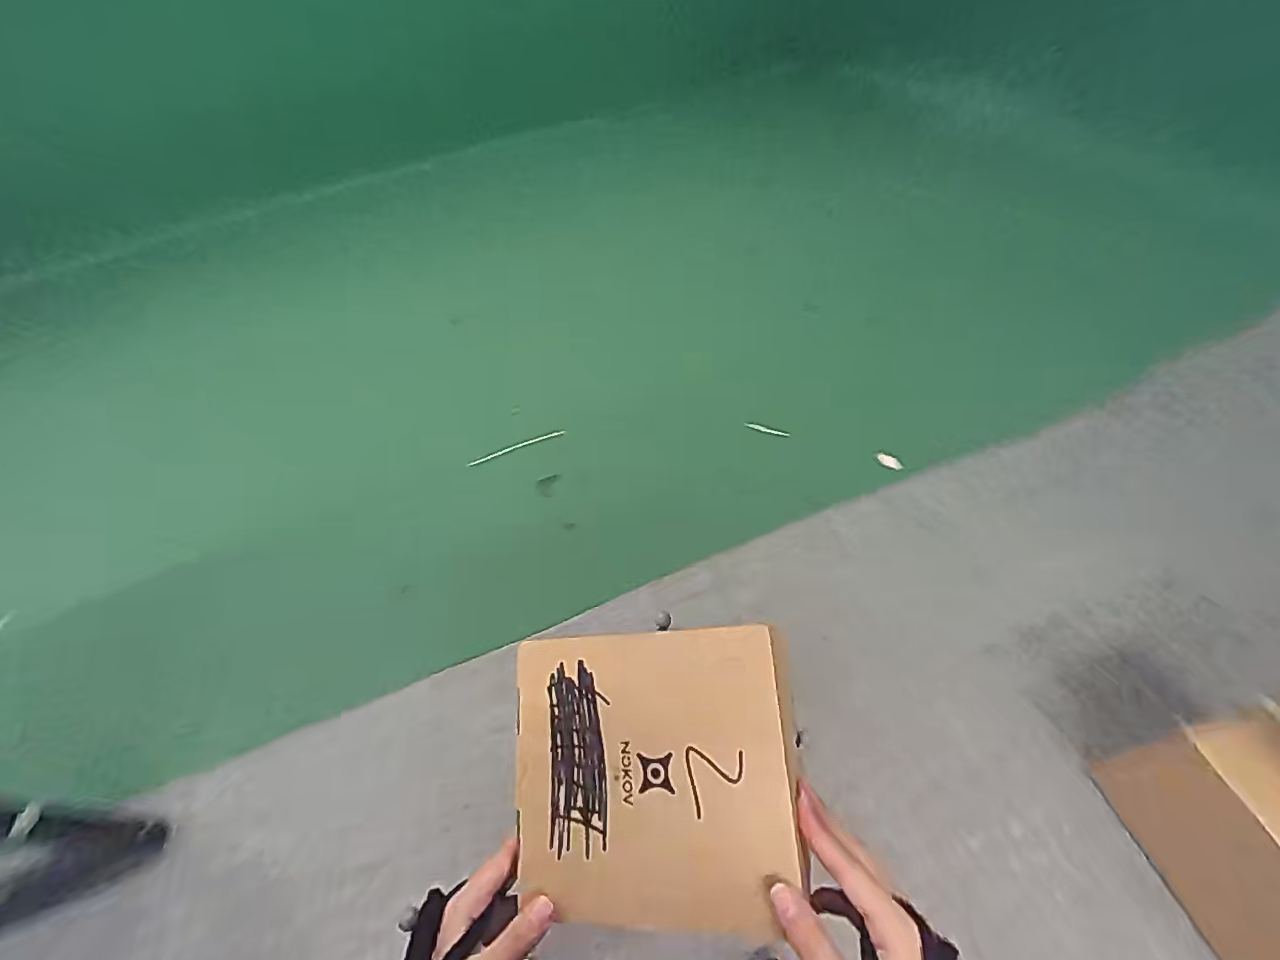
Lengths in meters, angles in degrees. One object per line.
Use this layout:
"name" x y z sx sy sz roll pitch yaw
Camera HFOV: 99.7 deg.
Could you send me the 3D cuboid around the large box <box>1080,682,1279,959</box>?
"large box" 1.081 0.594 0.888 0.320 0.320 0.408 -18 54 -5
